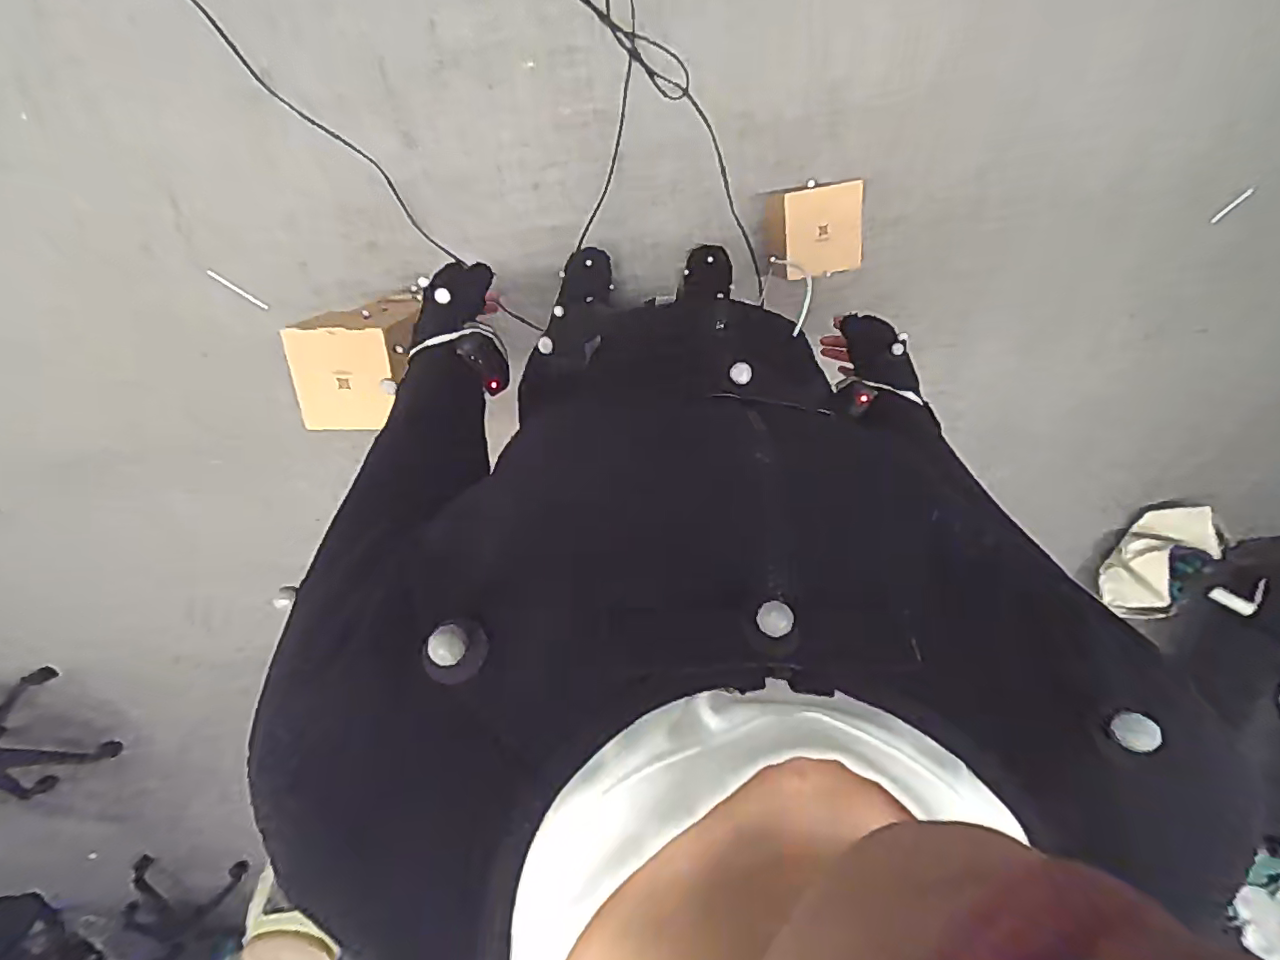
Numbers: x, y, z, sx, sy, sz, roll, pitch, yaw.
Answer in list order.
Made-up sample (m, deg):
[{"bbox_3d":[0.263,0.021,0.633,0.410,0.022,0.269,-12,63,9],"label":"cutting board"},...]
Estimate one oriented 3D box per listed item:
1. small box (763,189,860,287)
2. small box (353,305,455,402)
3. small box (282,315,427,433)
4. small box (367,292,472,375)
[{"bbox_3d":[0.382,-0.552,1.230,0.168,0.176,0.179,-9,115,1],"label":"small box"},{"bbox_3d":[-0.504,-0.266,1.133,0.168,0.176,0.179,-5,117,-1],"label":"small box"},{"bbox_3d":[-0.504,-0.197,0.987,0.168,0.176,0.179,0,115,-3],"label":"small box"},{"bbox_3d":[-0.510,-0.346,1.278,0.168,0.176,0.179,-5,115,-1],"label":"small box"}]
